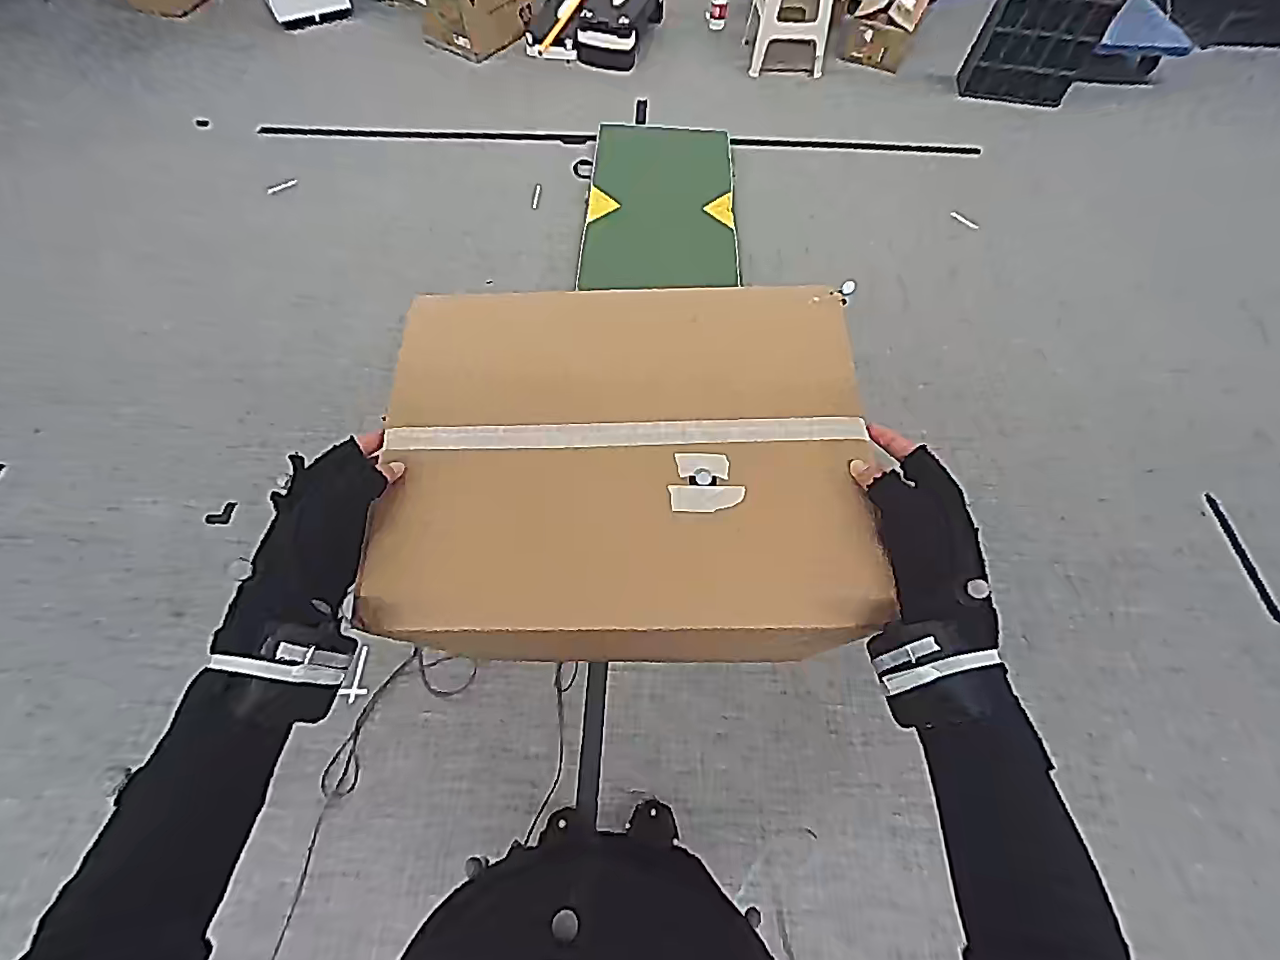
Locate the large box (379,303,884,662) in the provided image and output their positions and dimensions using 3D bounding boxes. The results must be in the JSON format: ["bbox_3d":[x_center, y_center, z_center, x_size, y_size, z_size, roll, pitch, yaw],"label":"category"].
[{"bbox_3d":[-0.008,0.028,0.613,0.408,0.320,0.320,-1,68,1],"label":"large box"}]
